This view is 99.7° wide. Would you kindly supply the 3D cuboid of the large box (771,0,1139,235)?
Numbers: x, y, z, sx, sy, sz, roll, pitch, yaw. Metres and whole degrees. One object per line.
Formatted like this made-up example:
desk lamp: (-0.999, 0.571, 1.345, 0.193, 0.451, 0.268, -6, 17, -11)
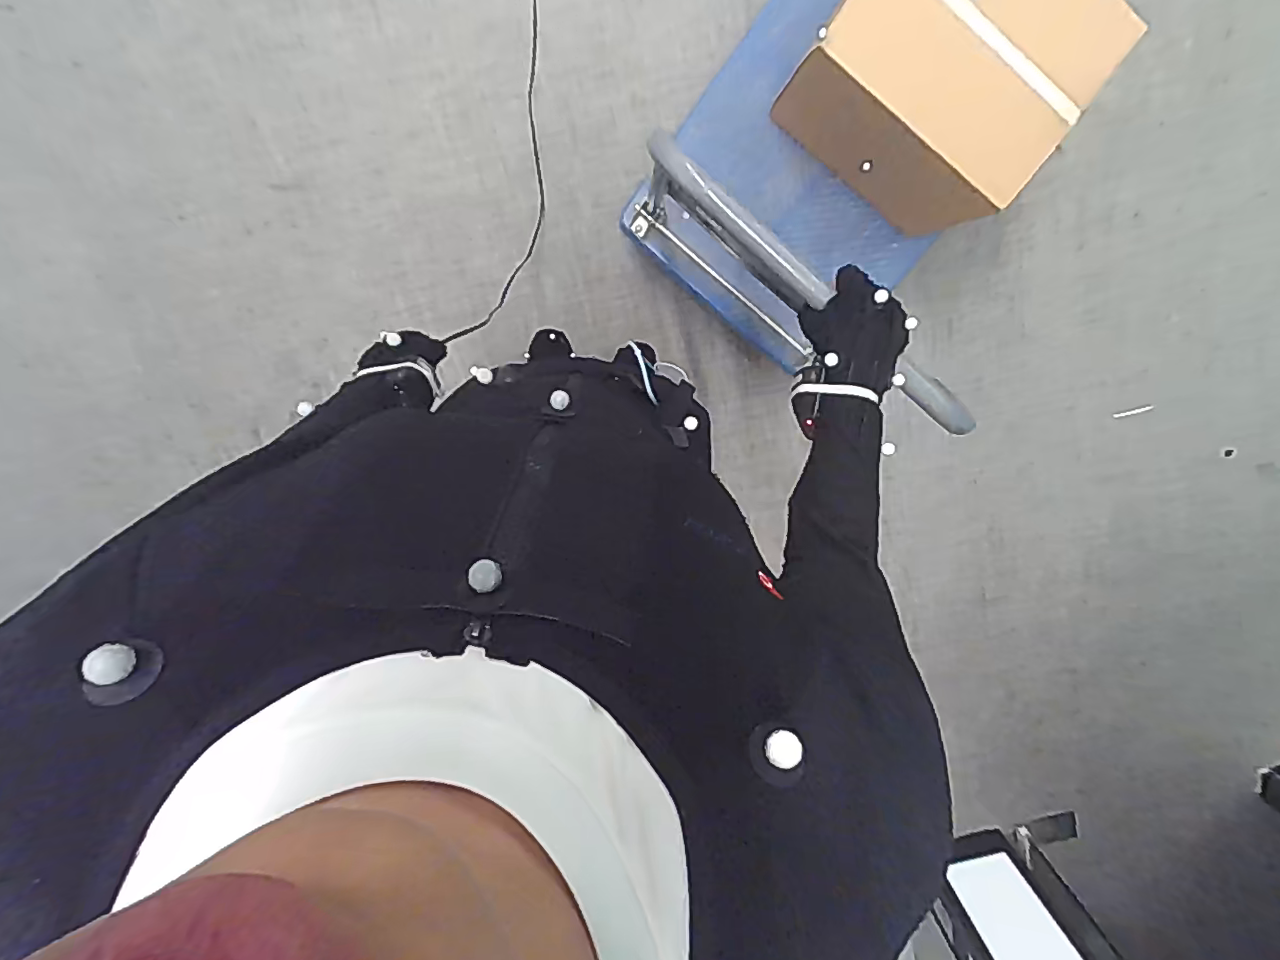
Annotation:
large box: (0.512, -0.704, 0.965, 0.408, 0.320, 0.320, 33, 103, -10)
